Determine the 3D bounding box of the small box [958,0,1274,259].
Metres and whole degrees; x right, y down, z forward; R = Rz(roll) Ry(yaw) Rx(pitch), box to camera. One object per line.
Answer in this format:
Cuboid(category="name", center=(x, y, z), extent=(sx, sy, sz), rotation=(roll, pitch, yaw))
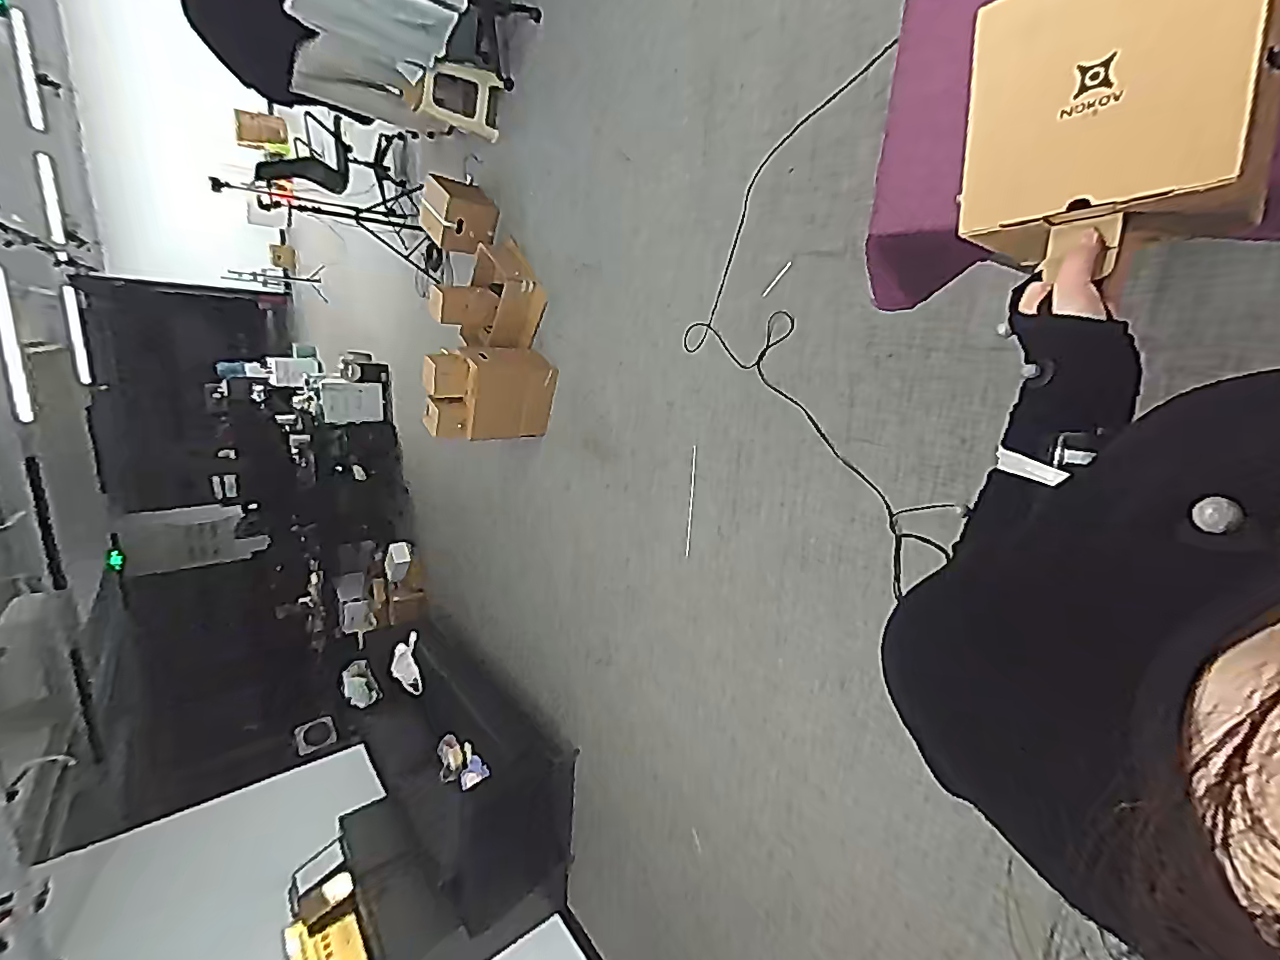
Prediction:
Cuboid(category="small box", center=(0.397, -0.302, 0.457), extent=(0.168, 0.176, 0.179), rotation=(11, 105, 49))
